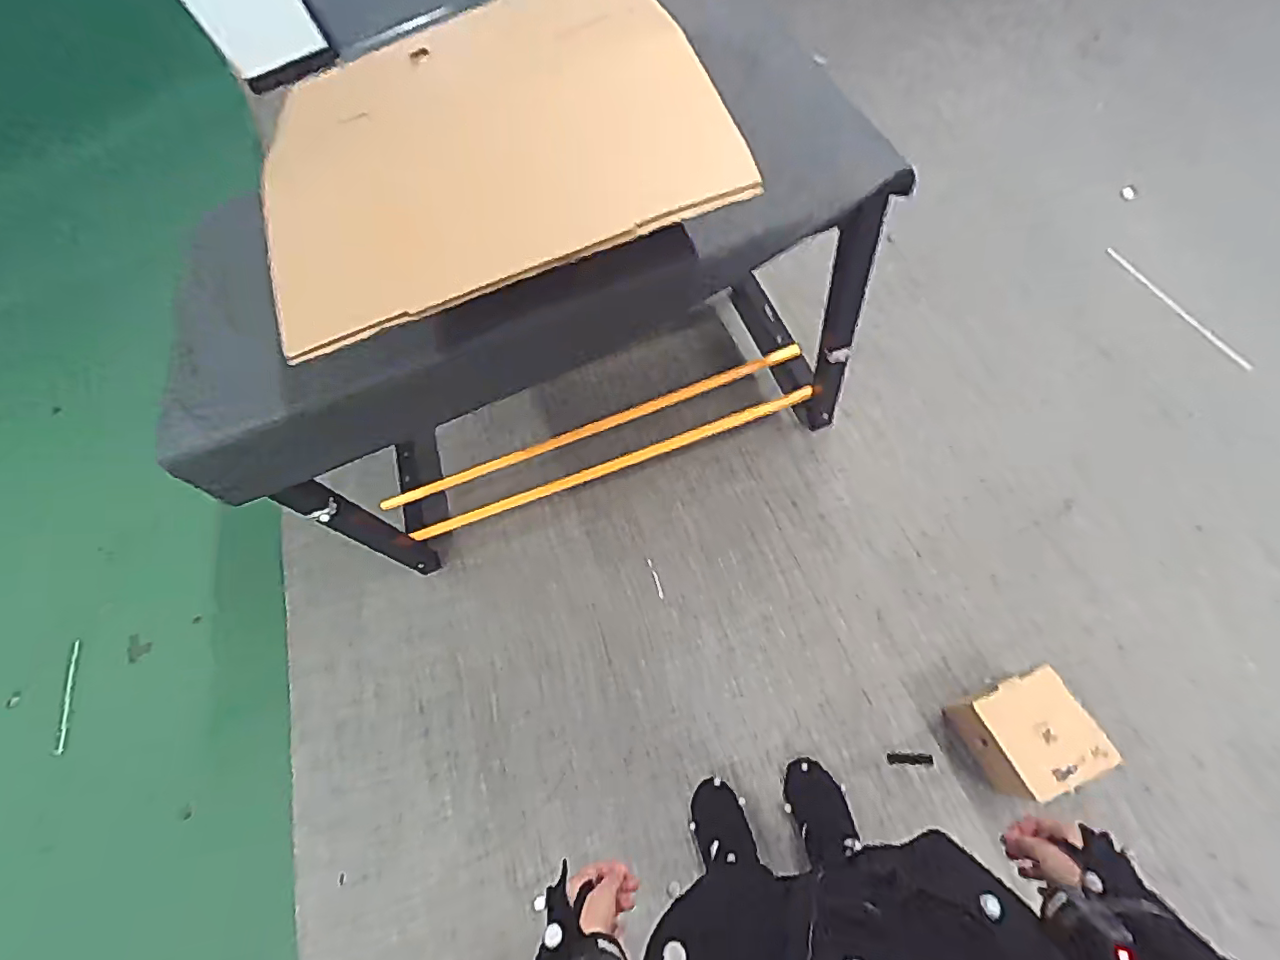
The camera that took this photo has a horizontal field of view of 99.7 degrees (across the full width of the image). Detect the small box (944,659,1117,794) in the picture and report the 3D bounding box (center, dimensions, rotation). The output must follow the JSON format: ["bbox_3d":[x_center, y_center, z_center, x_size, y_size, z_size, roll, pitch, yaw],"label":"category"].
[{"bbox_3d":[0.722,0.467,1.027,0.168,0.176,0.179,-26,62,-2],"label":"small box"}]
